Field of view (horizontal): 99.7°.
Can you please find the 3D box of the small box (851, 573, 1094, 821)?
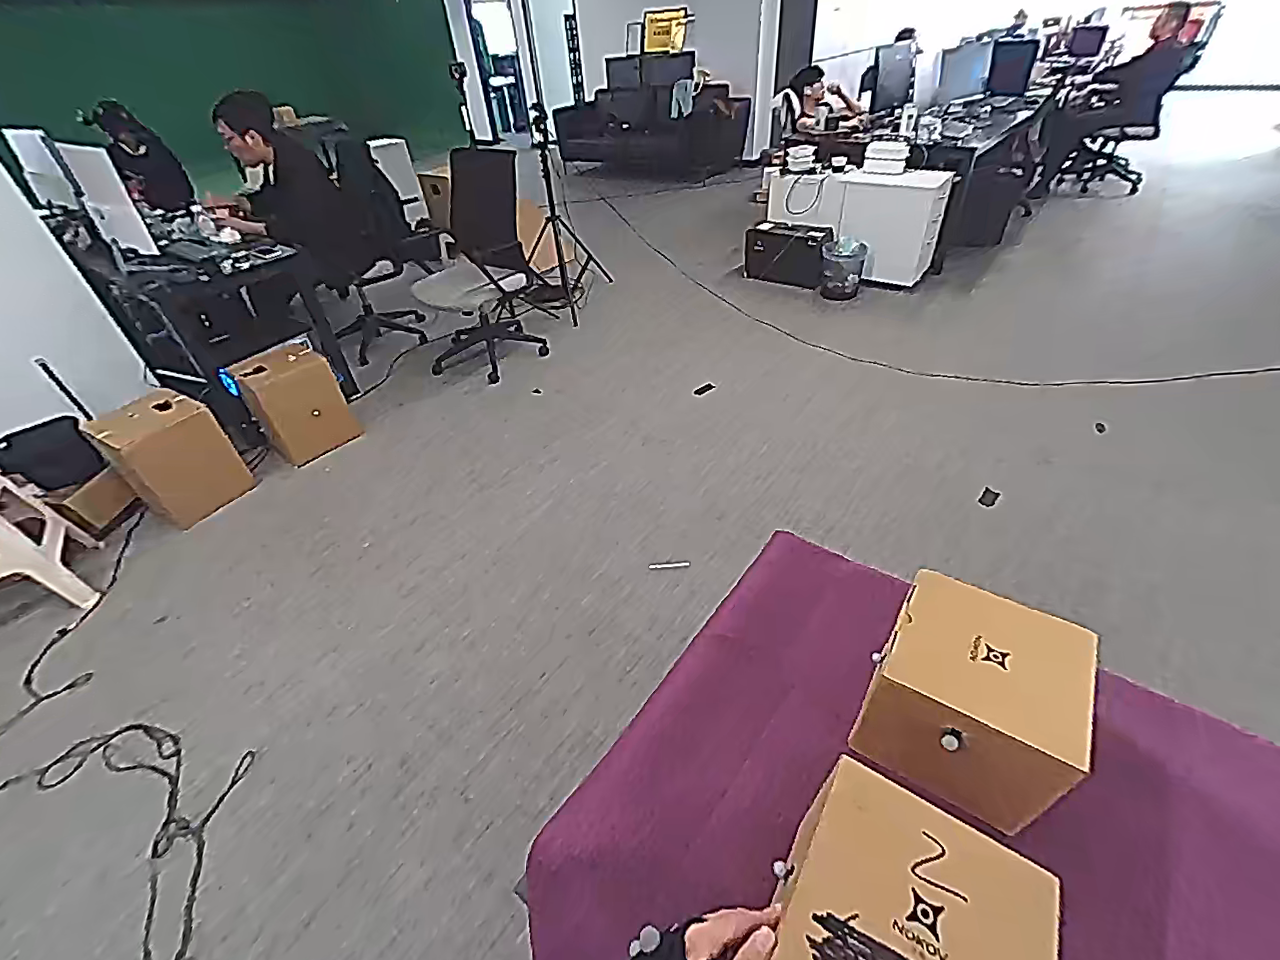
[{"bbox_3d":[0.361,0.243,0.605,0.179,0.176,0.168,21,46,28],"label":"small box"}]
